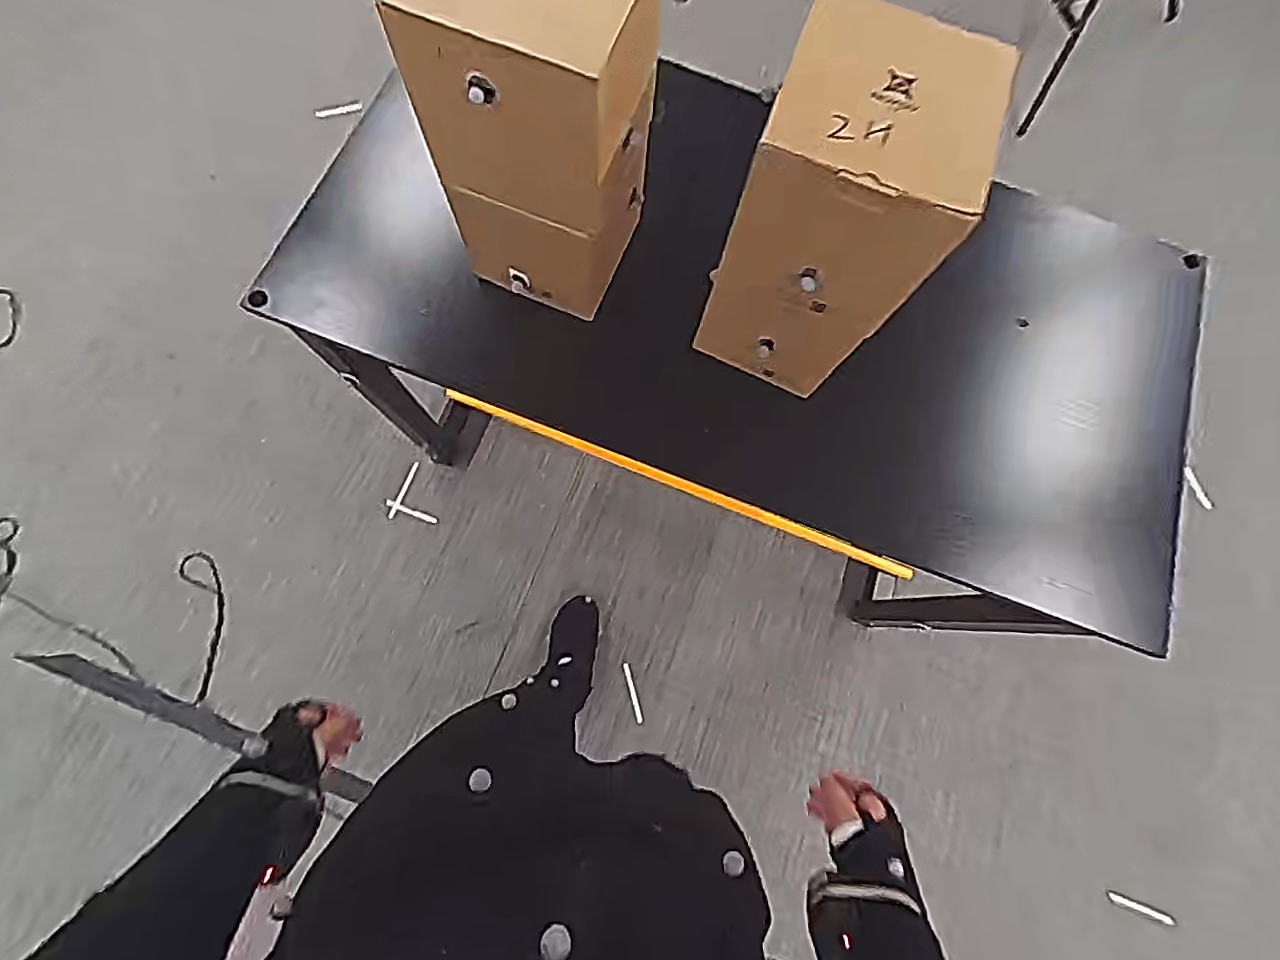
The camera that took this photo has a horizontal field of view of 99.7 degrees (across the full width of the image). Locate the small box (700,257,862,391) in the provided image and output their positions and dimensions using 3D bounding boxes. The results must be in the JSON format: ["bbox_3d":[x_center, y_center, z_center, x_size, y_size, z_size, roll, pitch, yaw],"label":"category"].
[{"bbox_3d":[0.182,-0.233,0.647,0.168,0.176,0.179,25,76,2],"label":"small box"}]

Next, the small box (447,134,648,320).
[{"bbox_3d":[-0.101,-0.329,0.650,0.168,0.176,0.179,21,76,2],"label":"small box"}]

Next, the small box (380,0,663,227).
[{"bbox_3d":[-0.090,-0.367,0.490,0.179,0.176,0.168,20,75,1],"label":"small box"}]

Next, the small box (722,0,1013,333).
[{"bbox_3d":[0.185,-0.268,0.484,0.168,0.176,0.179,20,75,2],"label":"small box"}]
